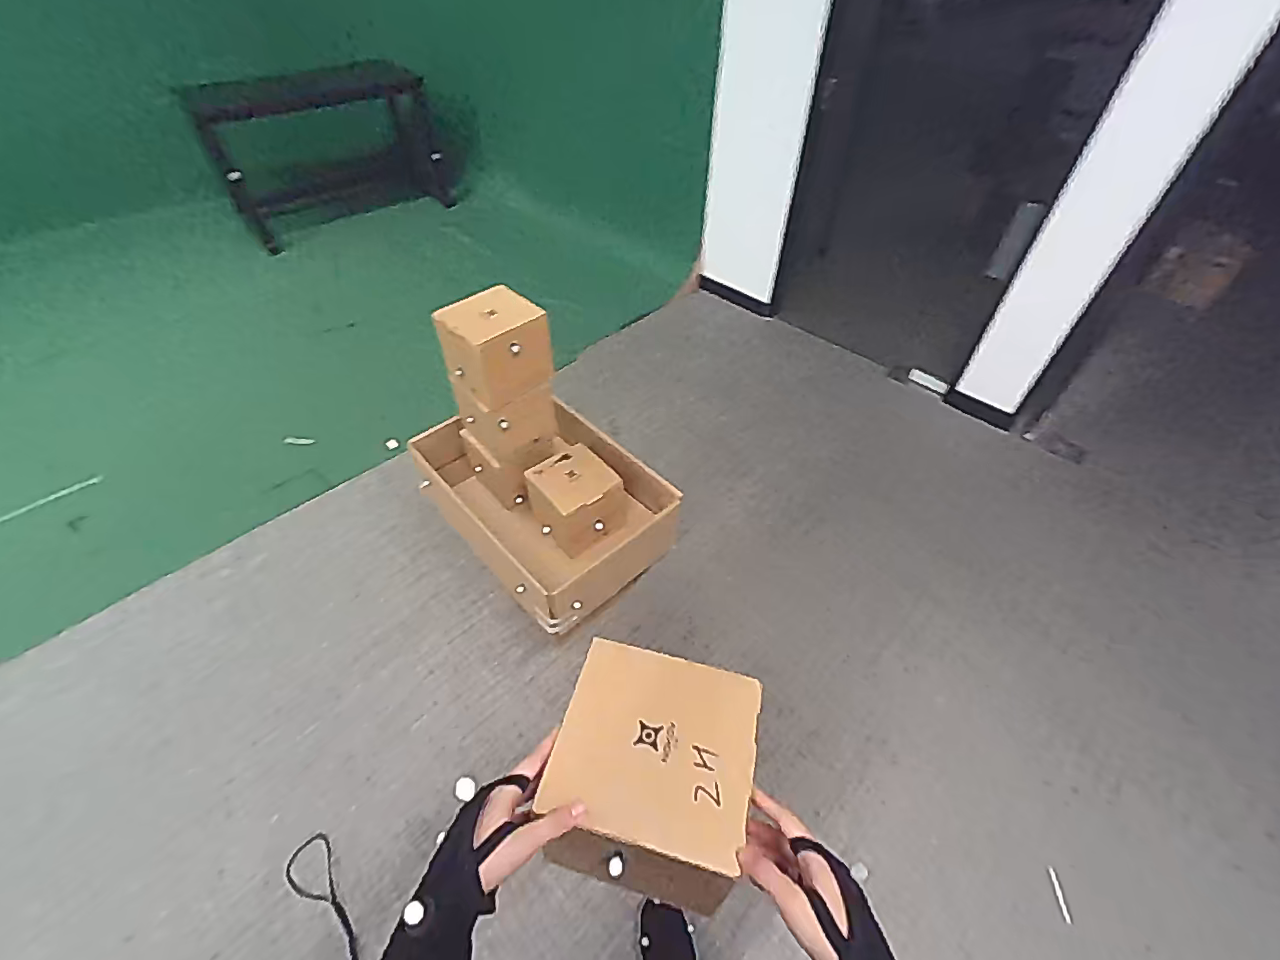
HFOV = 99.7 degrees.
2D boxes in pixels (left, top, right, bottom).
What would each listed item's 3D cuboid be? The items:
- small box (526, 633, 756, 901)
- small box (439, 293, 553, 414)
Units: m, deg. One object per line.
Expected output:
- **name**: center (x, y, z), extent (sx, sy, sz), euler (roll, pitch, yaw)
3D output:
- **small box**: center (0.006, 0.283, 0.536), extent (0.179, 0.176, 0.168), euler (12, 43, 9)
- **small box**: center (-0.305, -0.276, 1.184), extent (0.179, 0.176, 0.168), euler (-36, 57, -28)
